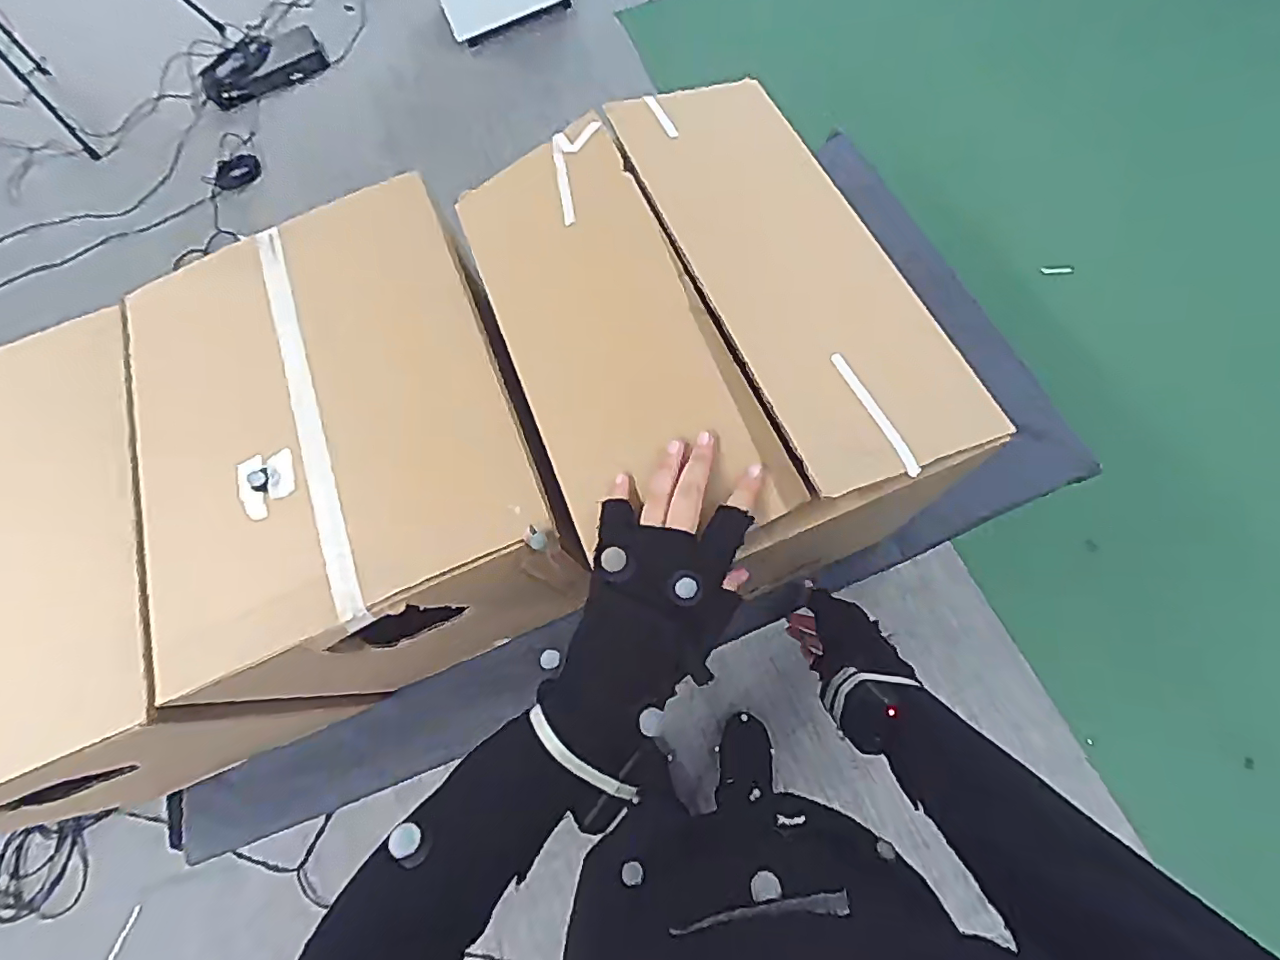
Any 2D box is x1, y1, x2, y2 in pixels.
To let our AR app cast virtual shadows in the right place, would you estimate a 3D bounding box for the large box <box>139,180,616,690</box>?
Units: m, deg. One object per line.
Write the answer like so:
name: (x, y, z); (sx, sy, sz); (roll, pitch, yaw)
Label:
large box: (-0.259, -0.026, 0.608); (0.320, 0.320, 0.408); (-24, 70, 0)
